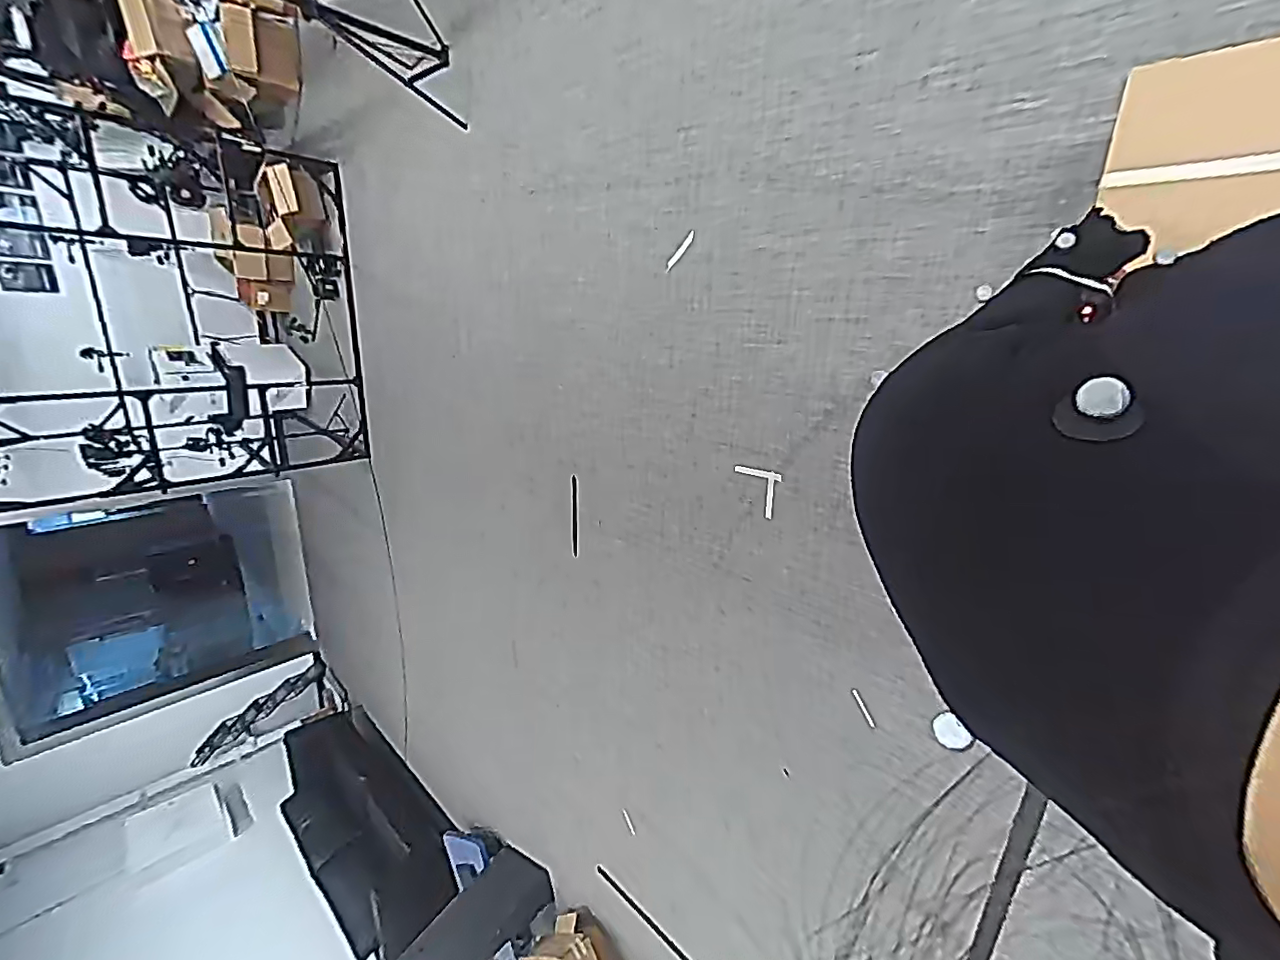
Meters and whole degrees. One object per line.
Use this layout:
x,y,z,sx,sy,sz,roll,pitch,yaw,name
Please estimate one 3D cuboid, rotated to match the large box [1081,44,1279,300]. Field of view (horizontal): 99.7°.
0.996,-0.461,0.854,0.408,0.320,0.320,17,112,41,large box
